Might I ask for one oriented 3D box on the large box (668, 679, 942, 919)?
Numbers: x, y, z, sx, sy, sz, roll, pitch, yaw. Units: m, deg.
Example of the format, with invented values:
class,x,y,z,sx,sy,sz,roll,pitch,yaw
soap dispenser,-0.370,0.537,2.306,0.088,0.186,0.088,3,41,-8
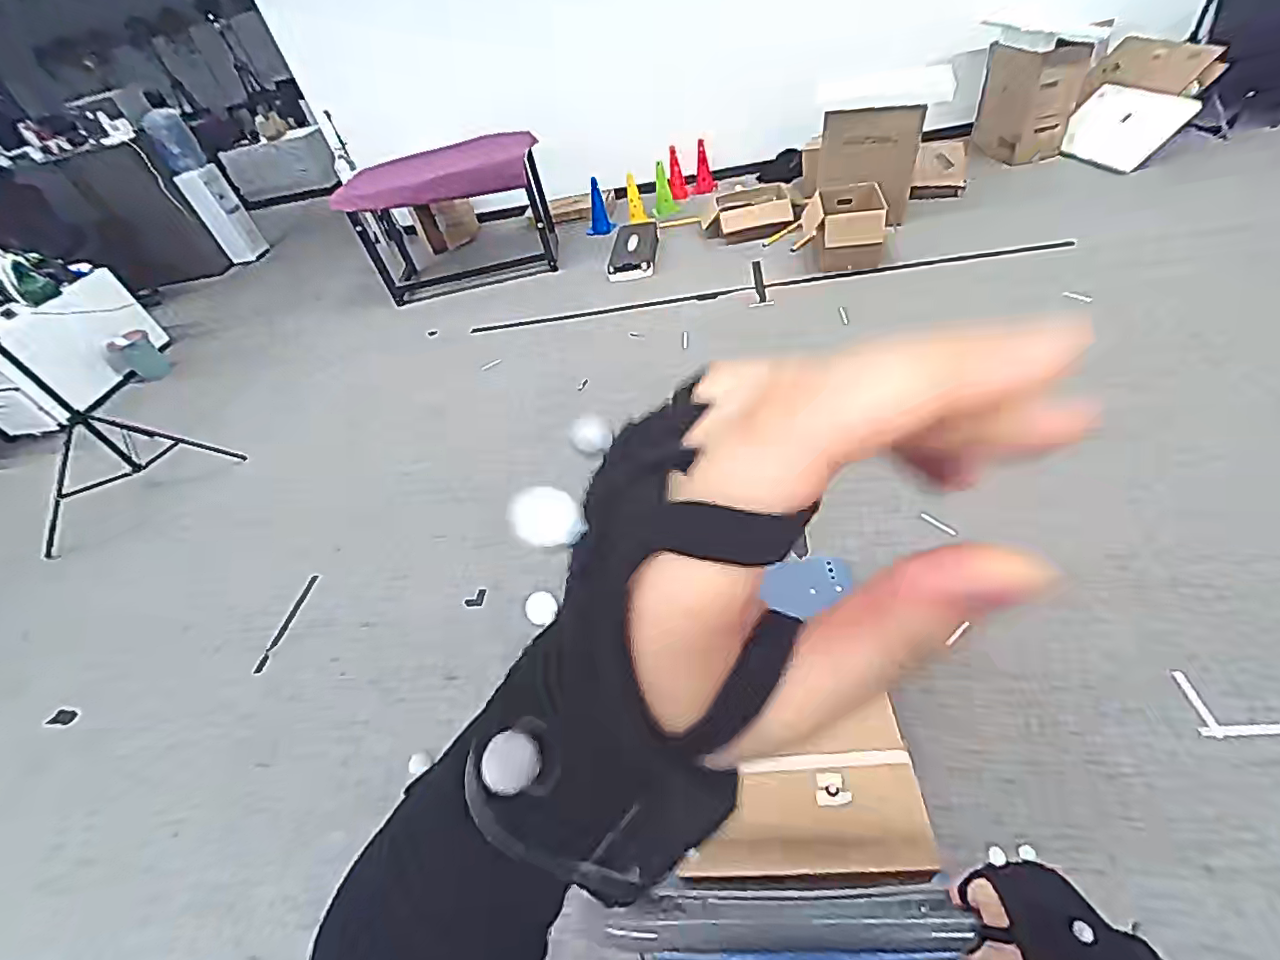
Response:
class,x,y,z,sx,sy,sz,roll,pitch,yaw
large box,0.274,0.607,1.022,0.408,0.320,0.320,-7,45,7
